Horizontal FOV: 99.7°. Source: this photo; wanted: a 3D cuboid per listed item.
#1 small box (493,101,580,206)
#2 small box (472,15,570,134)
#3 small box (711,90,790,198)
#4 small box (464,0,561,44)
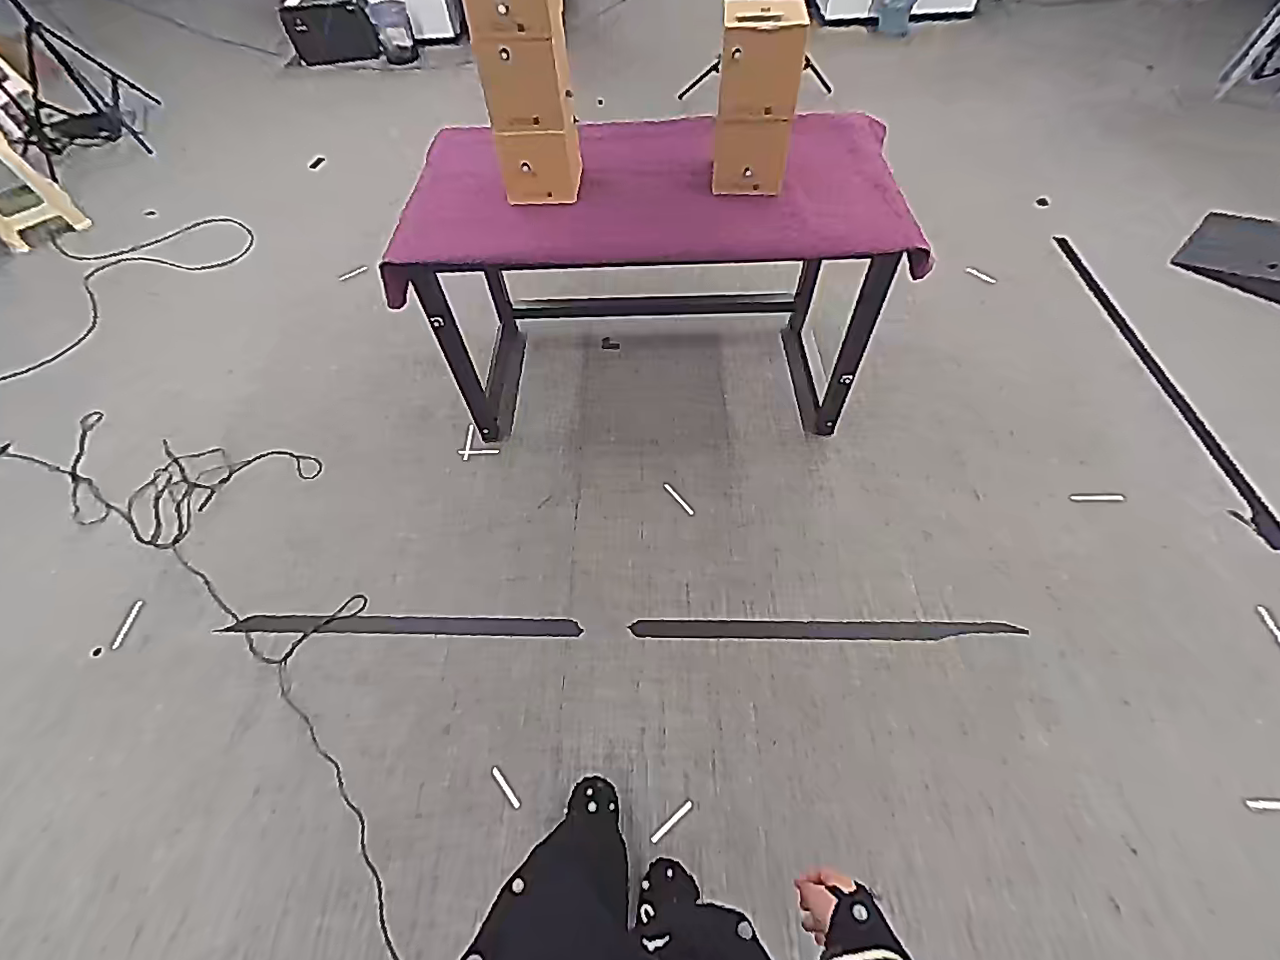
[{"bbox_3d":[-0.242,-0.789,1.317,0.168,0.176,0.179,0,56,3],"label":"small box"},{"bbox_3d":[-0.249,-0.886,1.184,0.168,0.176,0.179,-1,55,3],"label":"small box"},{"bbox_3d":[0.261,-0.810,1.303,0.168,0.176,0.179,3,56,6],"label":"small box"},{"bbox_3d":[-0.252,-0.977,1.046,0.168,0.176,0.179,0,56,3],"label":"small box"}]
